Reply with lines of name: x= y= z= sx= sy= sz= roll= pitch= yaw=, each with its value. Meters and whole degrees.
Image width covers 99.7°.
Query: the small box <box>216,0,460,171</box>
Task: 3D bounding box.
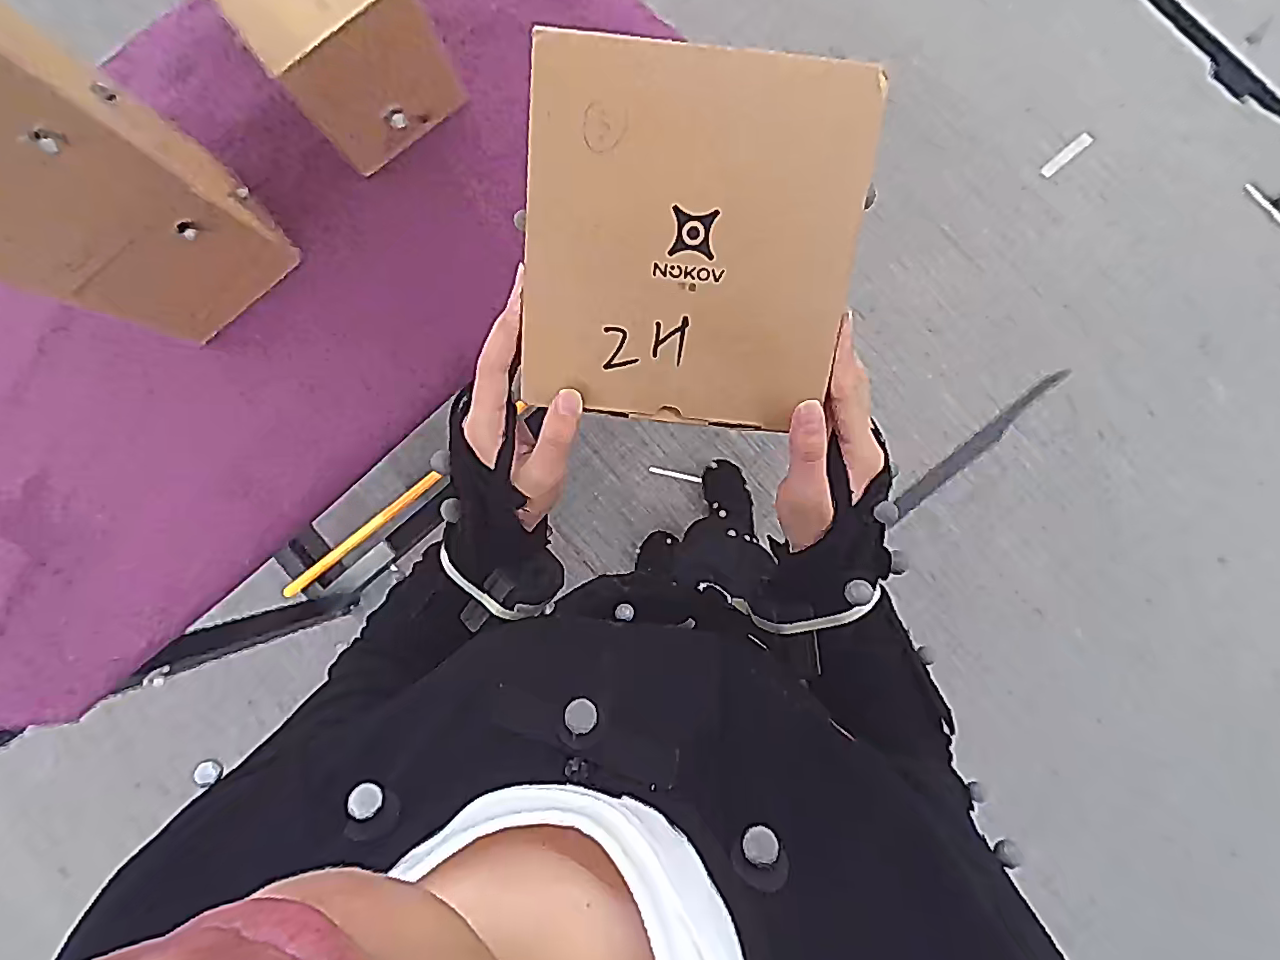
small box: x=-0.338 y=-0.501 z=0.607 sx=0.168 sy=0.176 sz=0.179 roll=-37 pitch=87 yaw=1

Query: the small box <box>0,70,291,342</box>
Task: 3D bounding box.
small box: x=-0.551 y=-0.286 z=0.608 sx=0.179 sy=0.176 sz=0.168 roll=-41 pitch=86 yaw=0

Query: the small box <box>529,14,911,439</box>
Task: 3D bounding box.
small box: x=0.034 y=-0.138 z=0.343 sx=0.168 sy=0.176 sz=0.179 roll=8 pitch=107 yaw=-1
